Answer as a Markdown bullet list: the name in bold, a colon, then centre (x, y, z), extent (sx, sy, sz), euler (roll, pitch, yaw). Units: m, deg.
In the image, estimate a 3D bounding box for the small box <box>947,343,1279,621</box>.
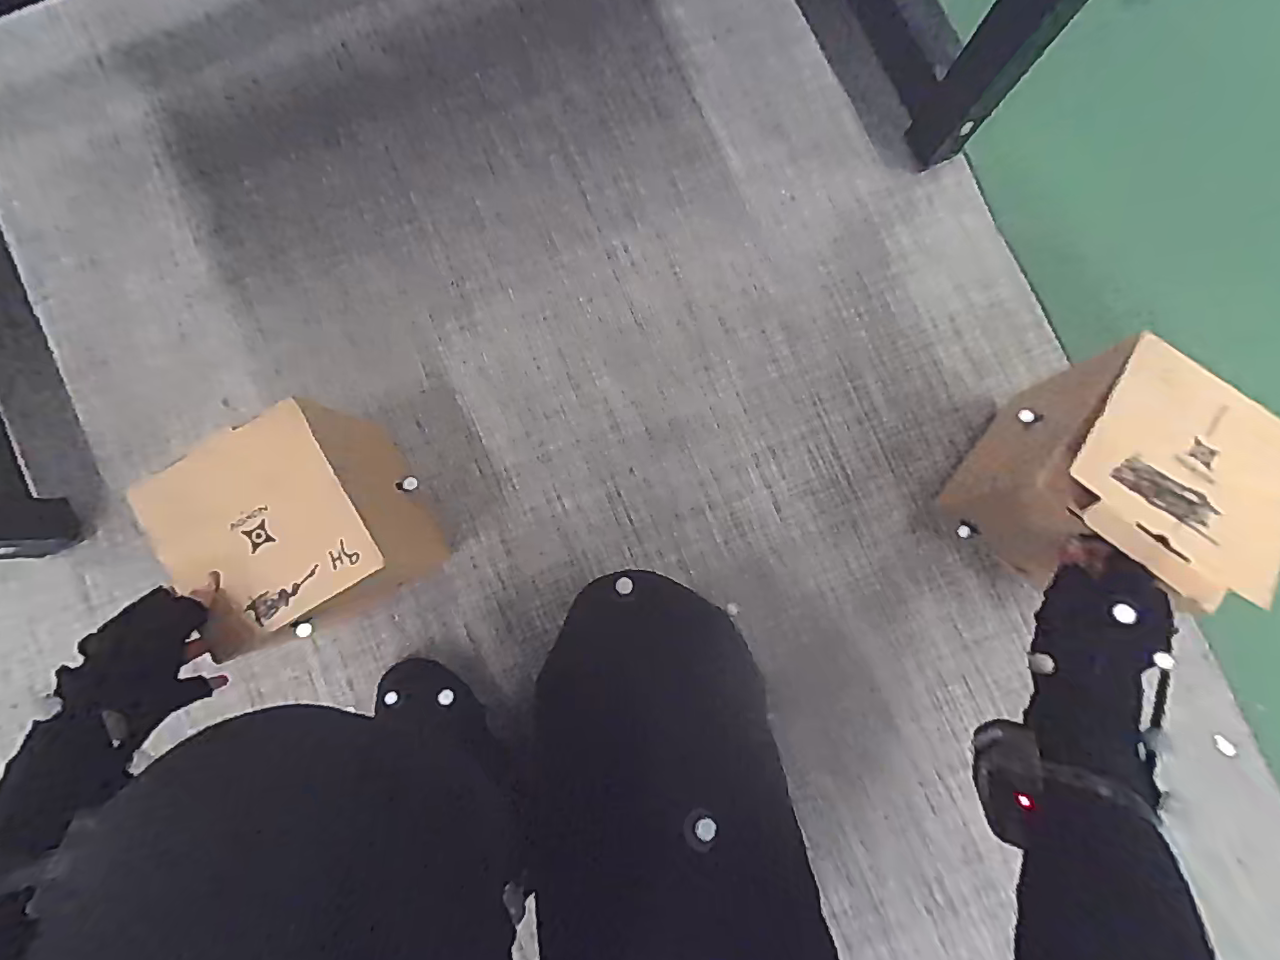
- **small box**: centre (0.437, 0.011, 0.519), extent (0.168, 0.176, 0.179), euler (39, 82, 7)
